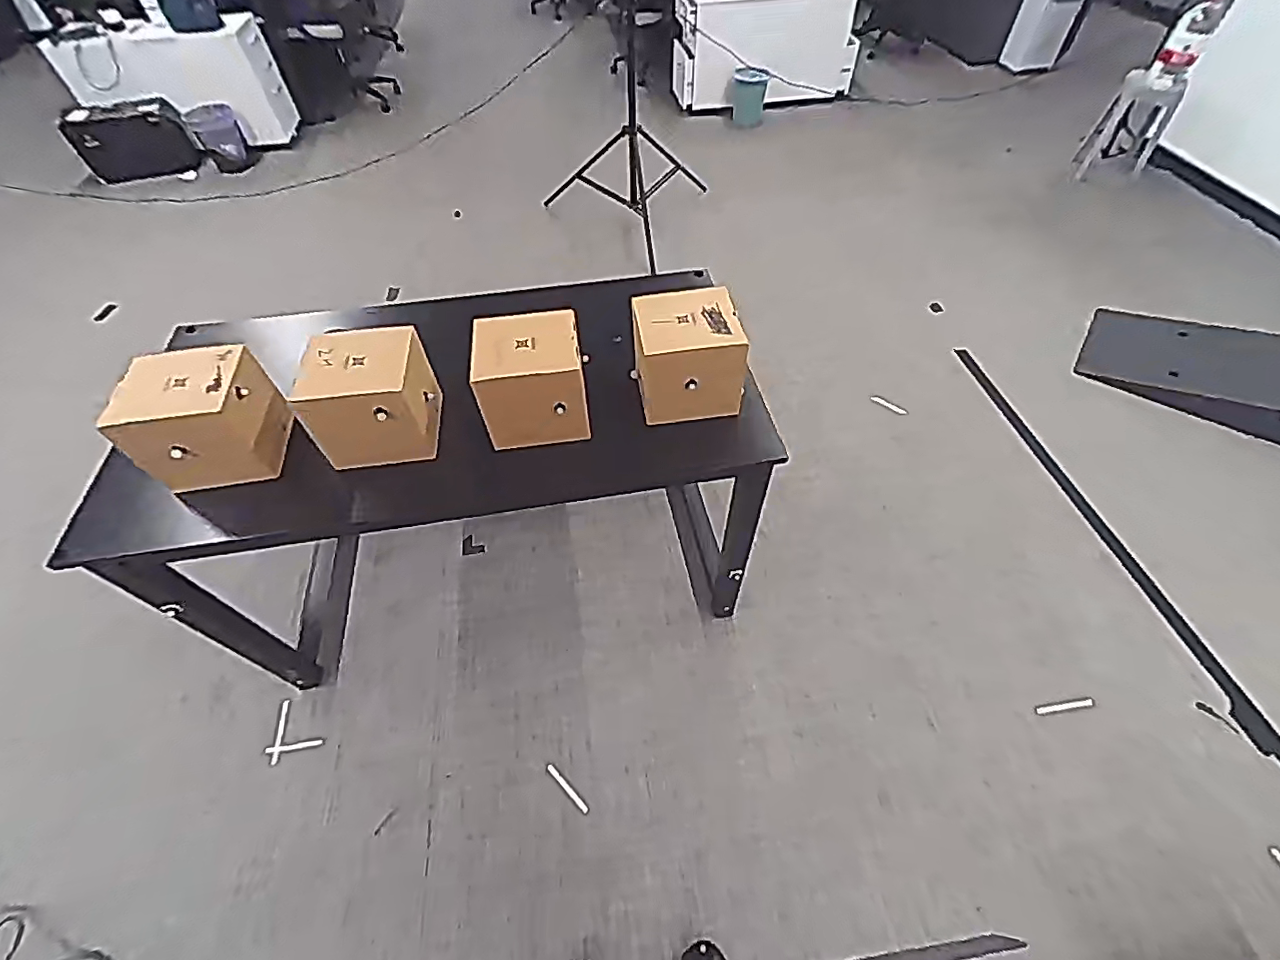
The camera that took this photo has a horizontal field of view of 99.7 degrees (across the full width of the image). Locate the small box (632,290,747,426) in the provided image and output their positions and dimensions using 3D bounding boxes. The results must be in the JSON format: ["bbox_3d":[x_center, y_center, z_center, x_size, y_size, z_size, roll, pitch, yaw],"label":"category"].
[{"bbox_3d":[0.083,-0.219,0.990,0.179,0.176,0.168,-8,52,-2],"label":"small box"}]

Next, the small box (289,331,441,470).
[{"bbox_3d":[-0.461,-0.135,0.943,0.179,0.176,0.168,-7,52,-4],"label":"small box"}]

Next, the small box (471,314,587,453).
[{"bbox_3d":[-0.191,-0.169,0.963,0.179,0.176,0.168,-9,51,-5],"label":"small box"}]

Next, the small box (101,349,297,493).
[{"bbox_3d":[-0.731,-0.096,0.922,0.179,0.176,0.168,-10,53,-6],"label":"small box"}]
